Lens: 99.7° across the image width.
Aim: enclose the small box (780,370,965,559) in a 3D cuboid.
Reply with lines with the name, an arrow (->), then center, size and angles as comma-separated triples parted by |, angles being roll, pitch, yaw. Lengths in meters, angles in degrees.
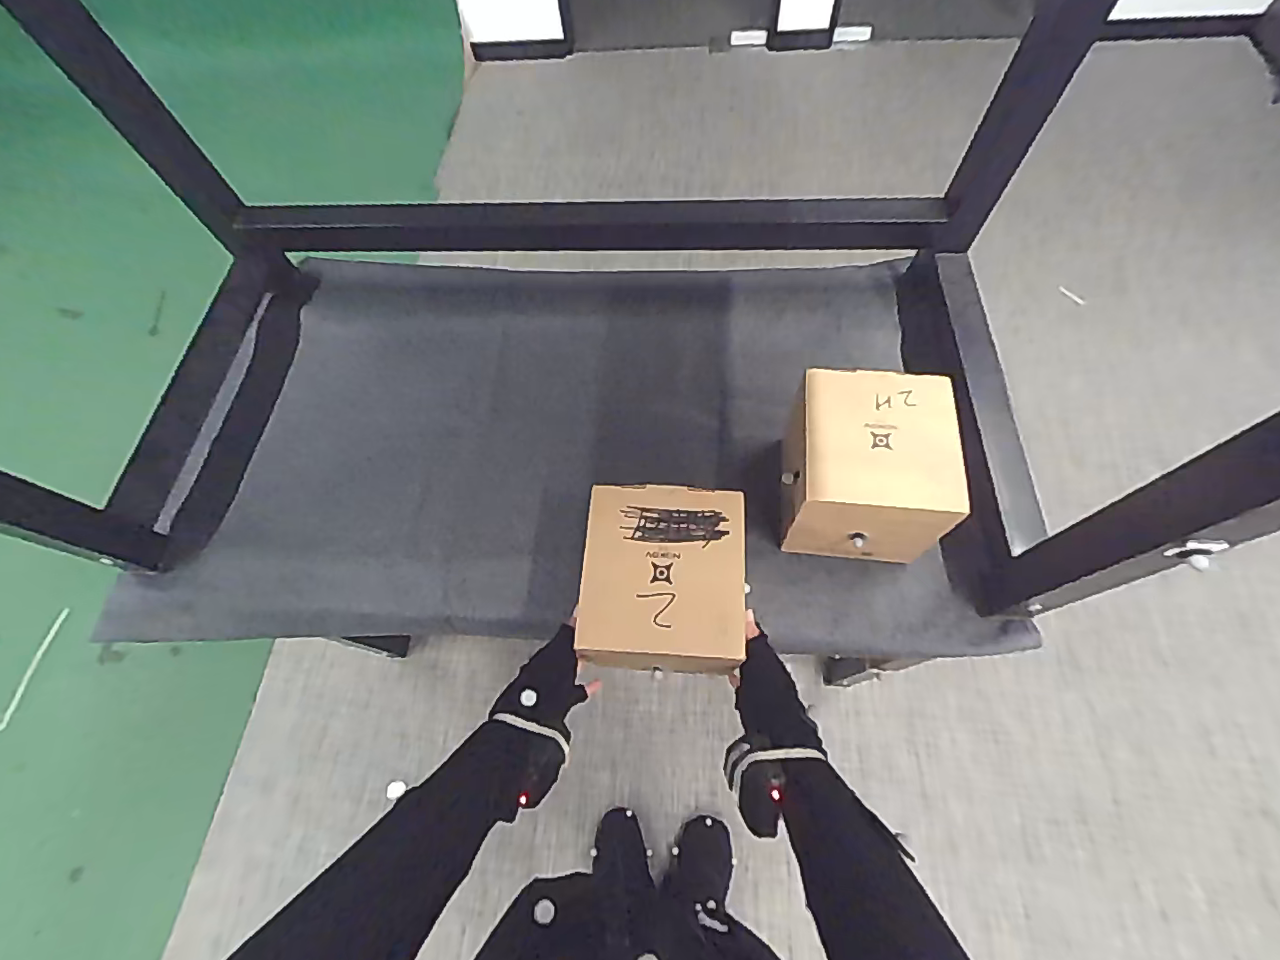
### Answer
small box -> 0.272, -0.012, 0.671 | 0.168, 0.176, 0.179 | 5, 65, 6
